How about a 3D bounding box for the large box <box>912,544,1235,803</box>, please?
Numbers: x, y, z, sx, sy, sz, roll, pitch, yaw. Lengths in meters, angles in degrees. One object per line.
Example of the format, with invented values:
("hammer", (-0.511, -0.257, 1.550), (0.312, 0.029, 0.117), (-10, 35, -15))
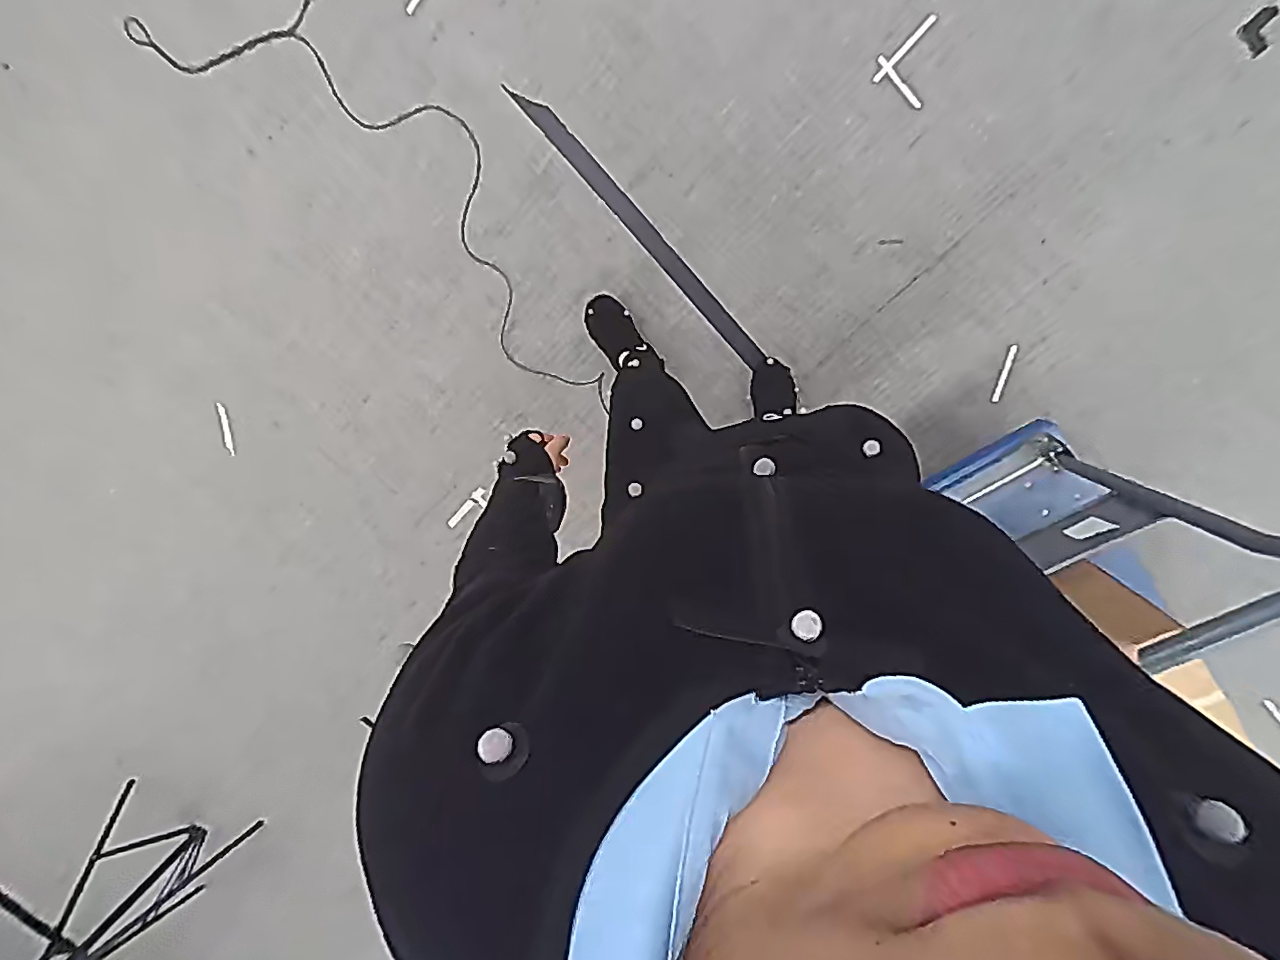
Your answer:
("large box", (0.908, 0.412, 1.200), (0.408, 0.320, 0.320), (-34, 100, 16))
